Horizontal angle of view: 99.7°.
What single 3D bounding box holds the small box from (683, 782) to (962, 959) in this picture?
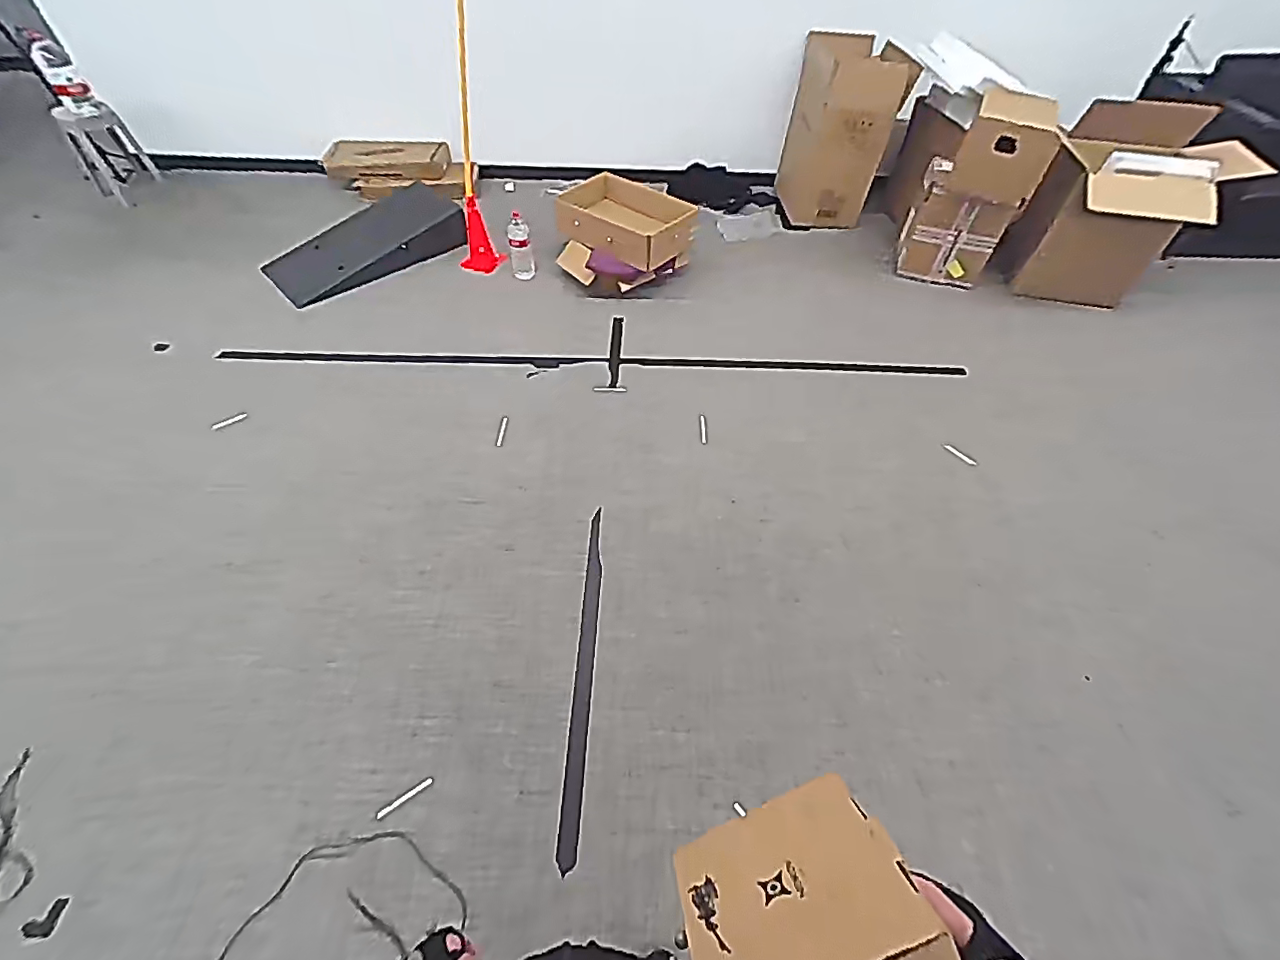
[{"bbox_3d":[0.157,0.408,0.454,0.179,0.168,0.176,-23,96,-3],"label":"small box"}]
